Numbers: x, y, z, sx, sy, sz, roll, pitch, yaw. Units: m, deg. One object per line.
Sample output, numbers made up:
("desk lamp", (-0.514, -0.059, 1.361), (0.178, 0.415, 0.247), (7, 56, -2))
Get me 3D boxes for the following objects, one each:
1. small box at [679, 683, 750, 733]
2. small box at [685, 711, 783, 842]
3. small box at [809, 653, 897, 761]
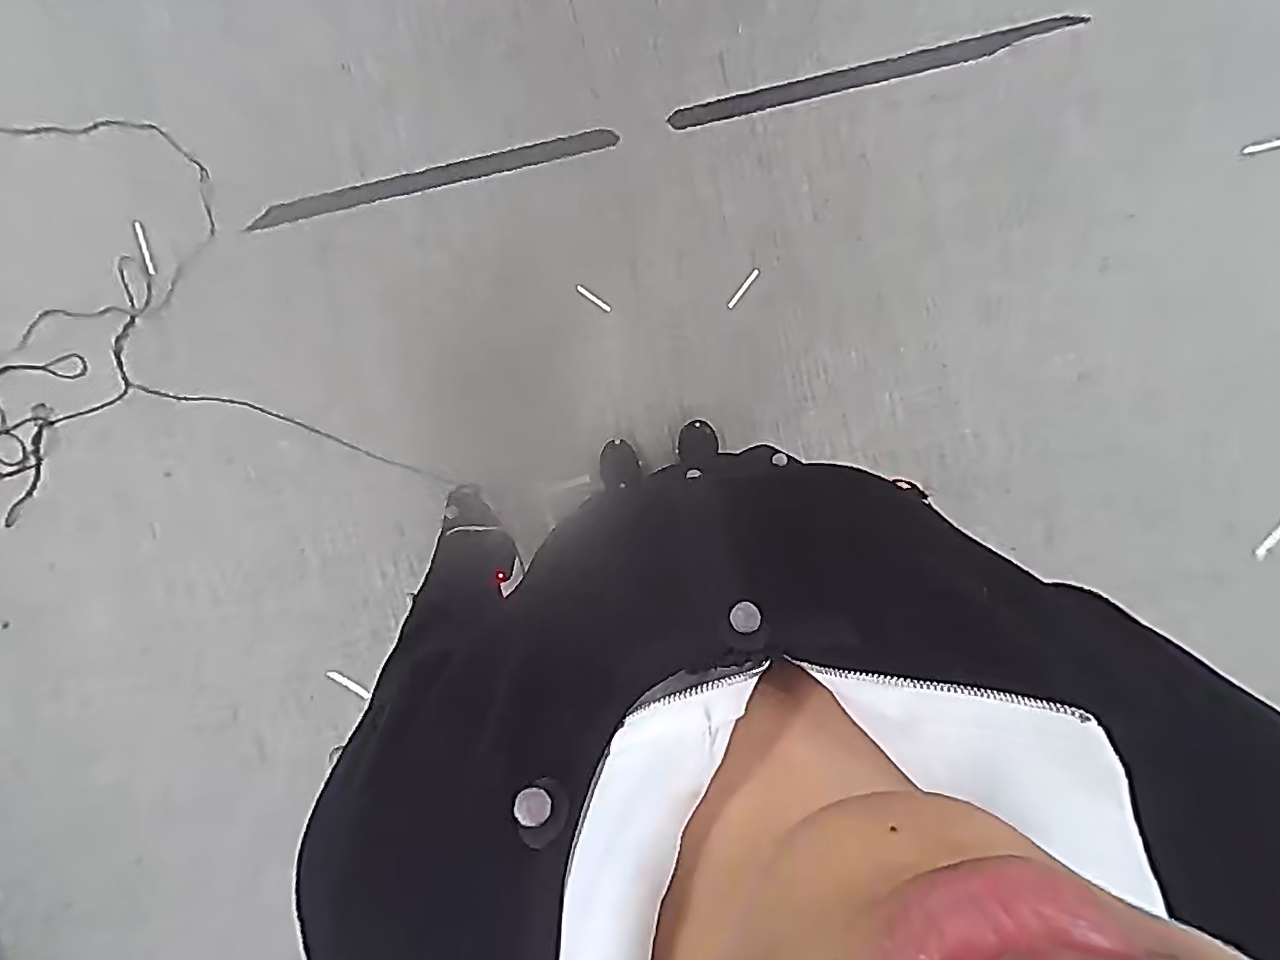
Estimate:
("small box", (0.200, 0.642, 1.384), (0.168, 0.176, 0.179), (-15, 96, 2))
("small box", (0.205, 0.661, 1.221), (0.168, 0.176, 0.179), (-18, 96, 3))
("small box", (0.540, 0.564, 1.359), (0.168, 0.176, 0.179), (-13, 97, 4))
